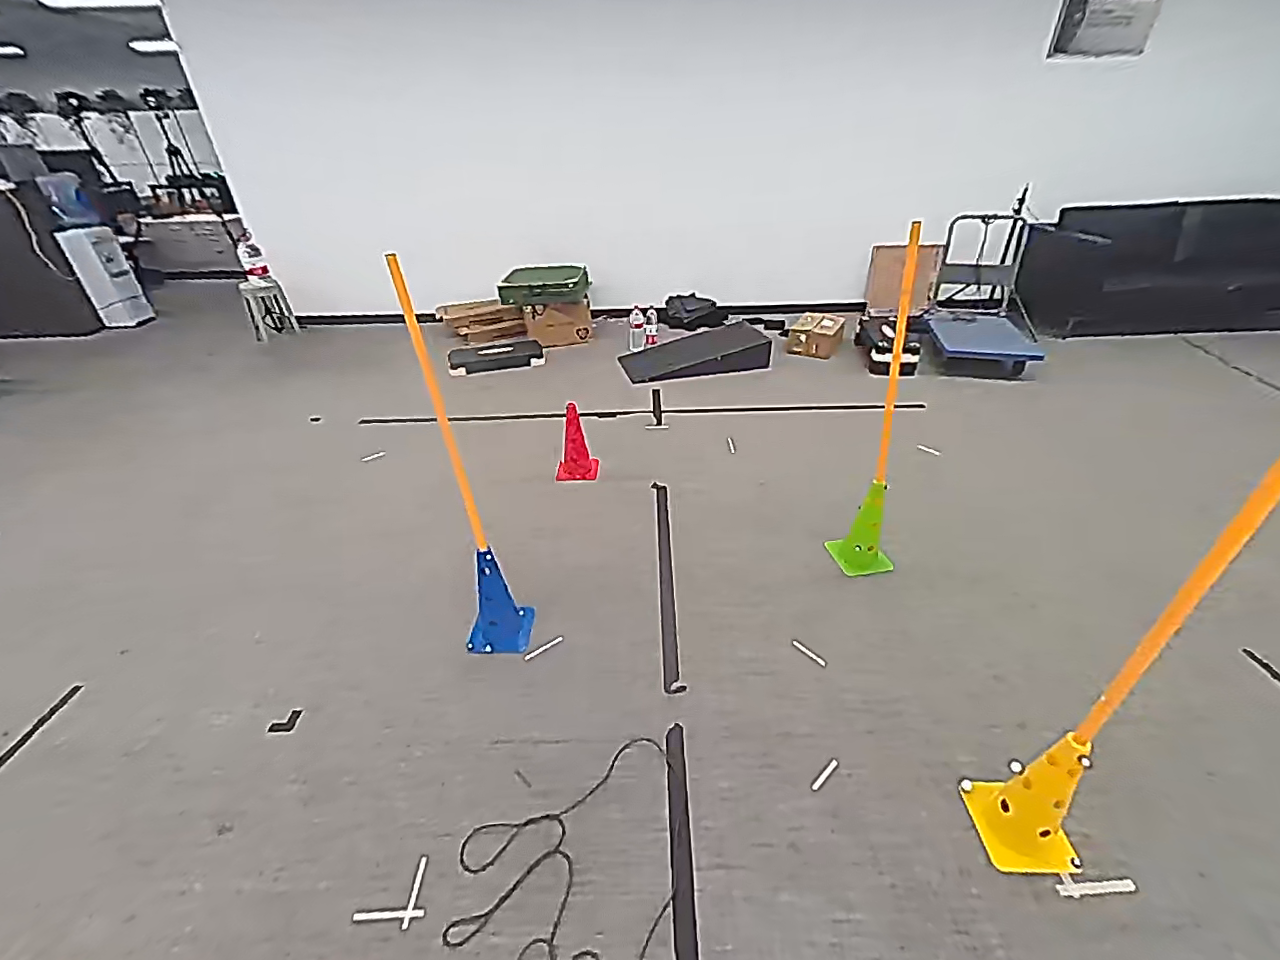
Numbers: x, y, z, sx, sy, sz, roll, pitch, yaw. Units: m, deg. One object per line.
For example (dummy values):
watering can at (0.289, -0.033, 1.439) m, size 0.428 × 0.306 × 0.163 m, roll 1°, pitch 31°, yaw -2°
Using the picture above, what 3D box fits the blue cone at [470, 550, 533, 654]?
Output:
blue cone at (-0.470, 0.373, 1.742) m, size 0.193 × 0.380 × 0.192 m, roll 0°, pitch 34°, yaw 3°

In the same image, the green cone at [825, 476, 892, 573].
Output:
green cone at (0.847, 0.142, 2.016) m, size 0.200 × 0.368 × 0.202 m, roll -7°, pitch 35°, yaw -8°
